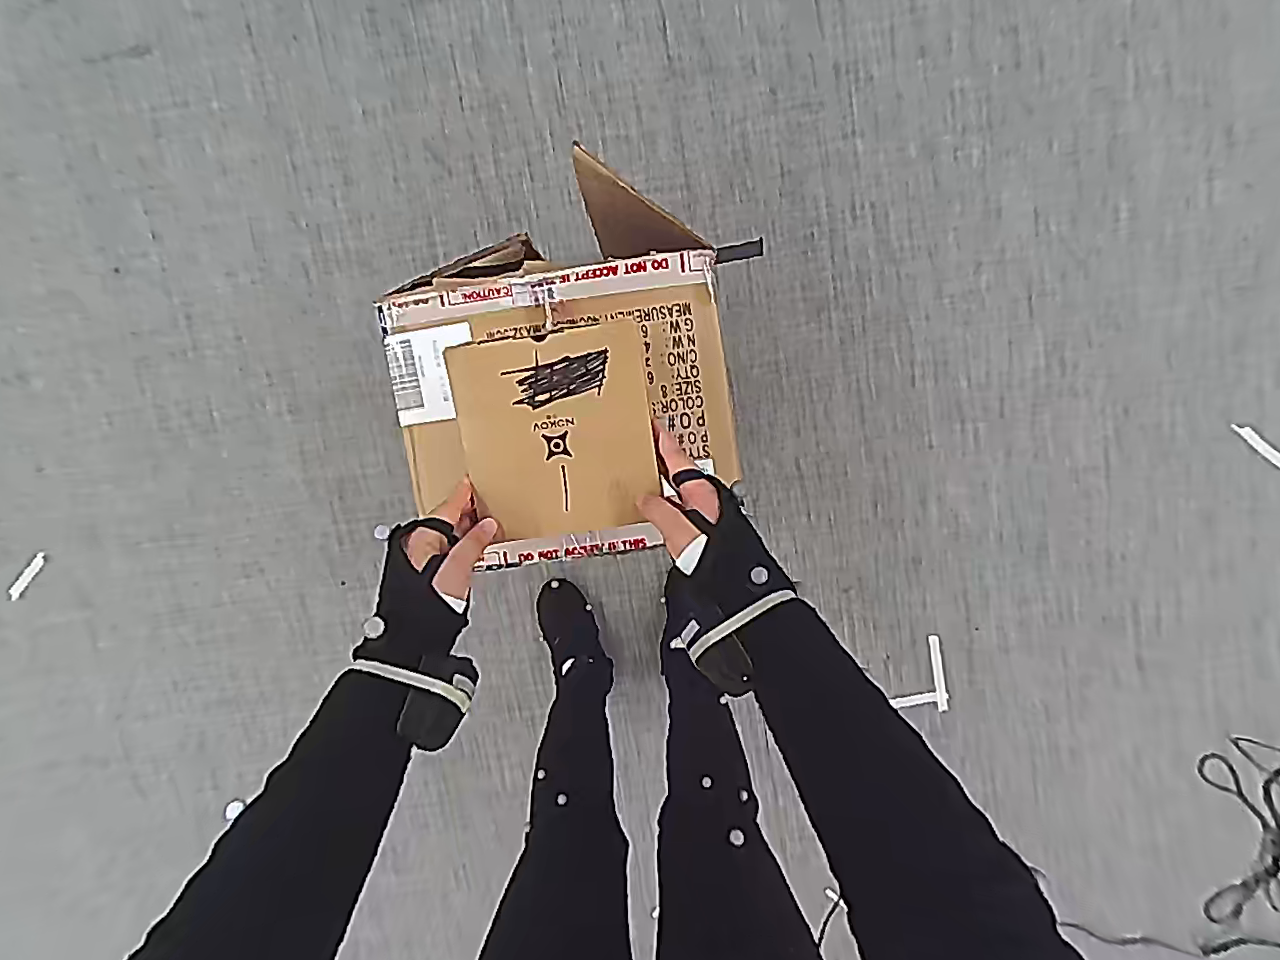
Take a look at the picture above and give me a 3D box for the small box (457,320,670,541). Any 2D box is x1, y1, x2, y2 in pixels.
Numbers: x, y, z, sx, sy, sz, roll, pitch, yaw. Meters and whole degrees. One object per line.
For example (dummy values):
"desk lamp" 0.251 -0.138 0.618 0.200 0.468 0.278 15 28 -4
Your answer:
"small box" -0.065 -0.053 0.551 0.168 0.176 0.179 -9 100 3
